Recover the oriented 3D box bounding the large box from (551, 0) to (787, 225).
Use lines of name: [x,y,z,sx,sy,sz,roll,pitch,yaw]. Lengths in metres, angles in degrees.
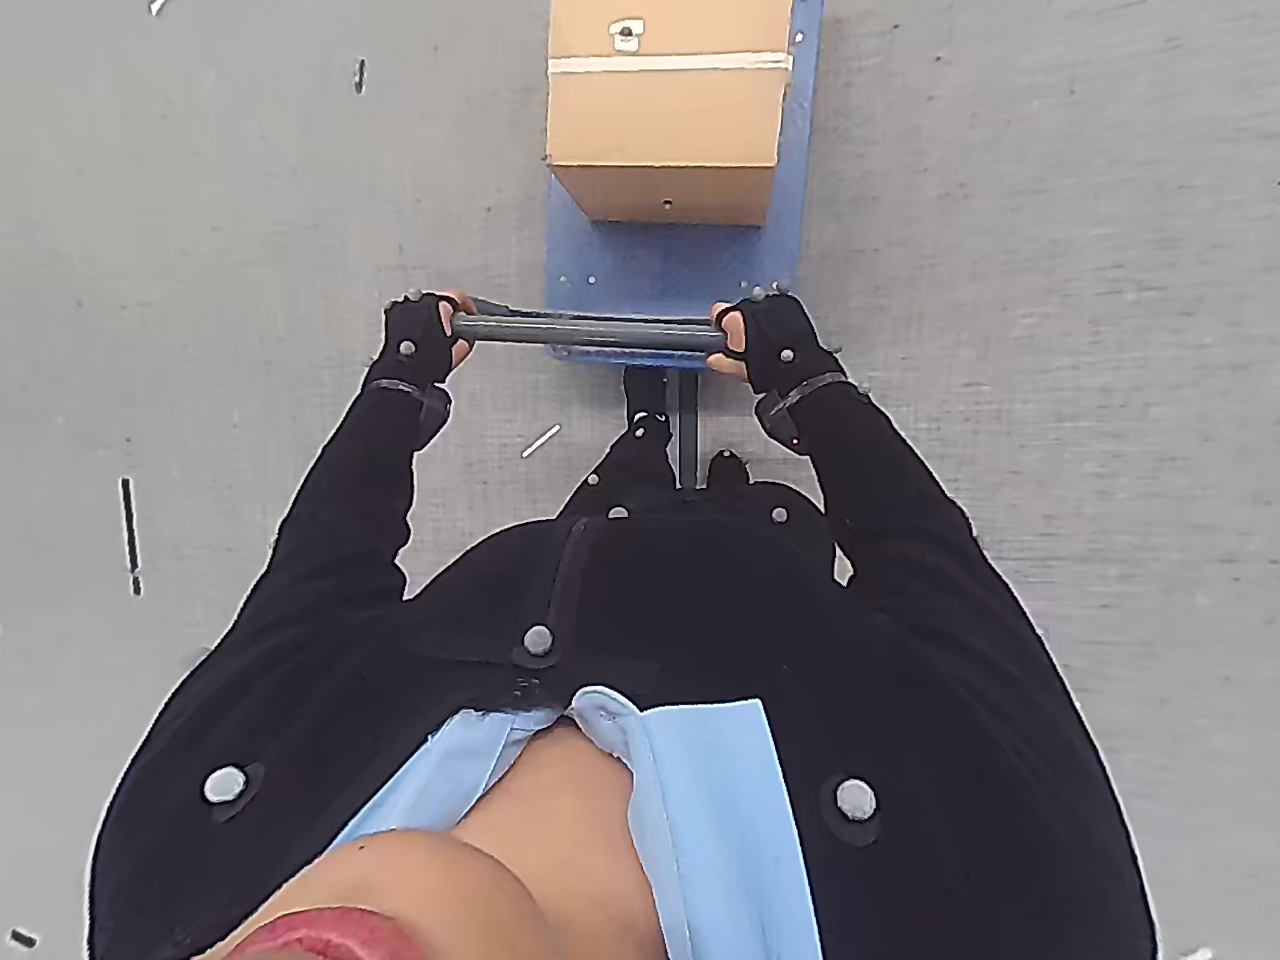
large box: [0.068,-0.713,1.076,0.408,0.320,0.320,5,98,9]
